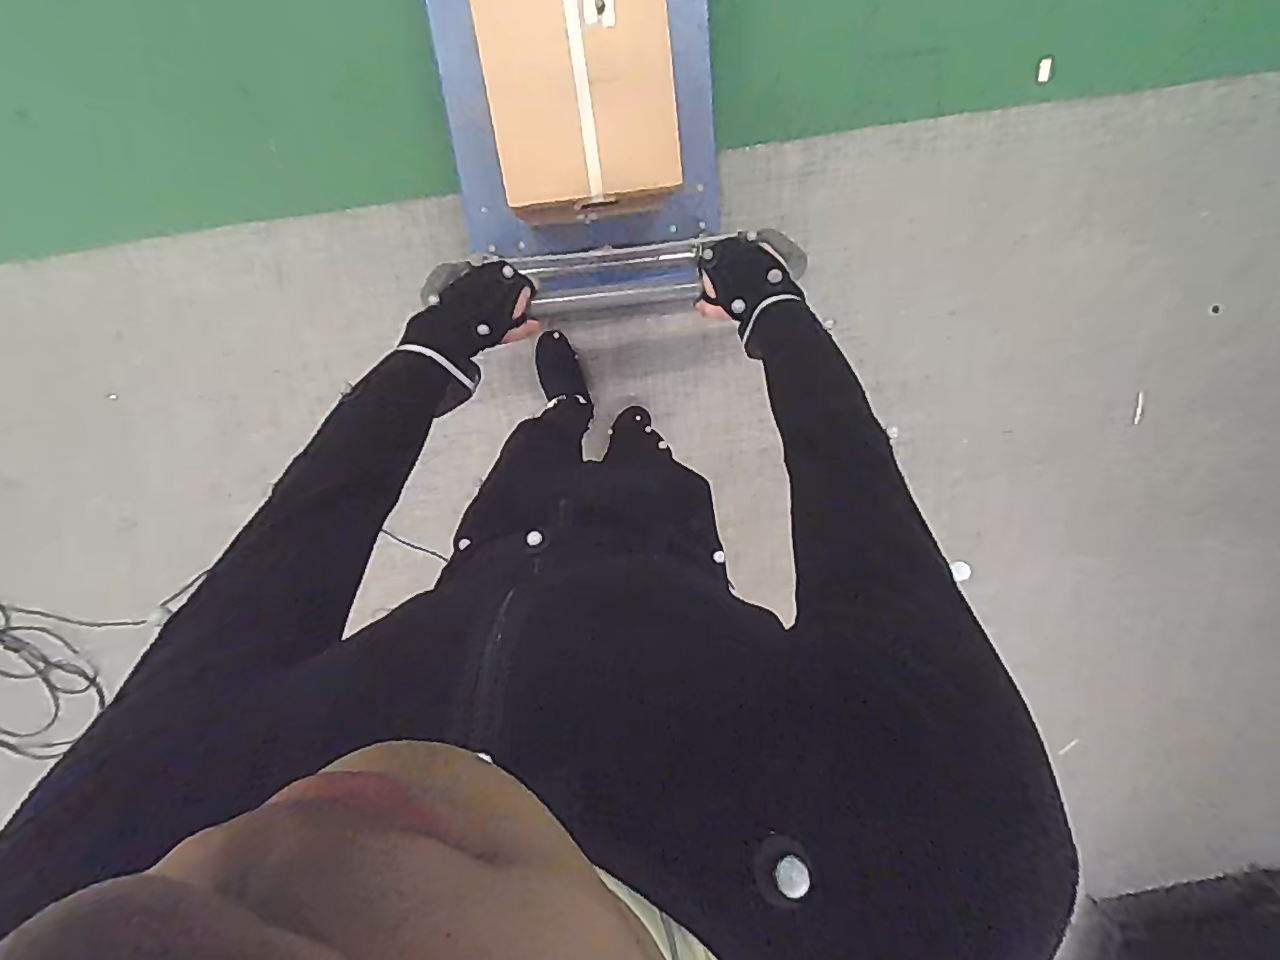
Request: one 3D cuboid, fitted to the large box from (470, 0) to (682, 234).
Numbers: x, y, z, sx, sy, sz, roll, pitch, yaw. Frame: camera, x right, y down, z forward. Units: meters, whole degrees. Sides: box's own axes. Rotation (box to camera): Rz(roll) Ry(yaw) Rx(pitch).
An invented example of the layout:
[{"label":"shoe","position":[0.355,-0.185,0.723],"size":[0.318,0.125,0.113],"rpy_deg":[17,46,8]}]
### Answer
[{"label":"large box","position":[-0.112,-0.725,1.042],"size":[0.320,0.320,0.408],"rpy_deg":[-8,109,-2]}]
